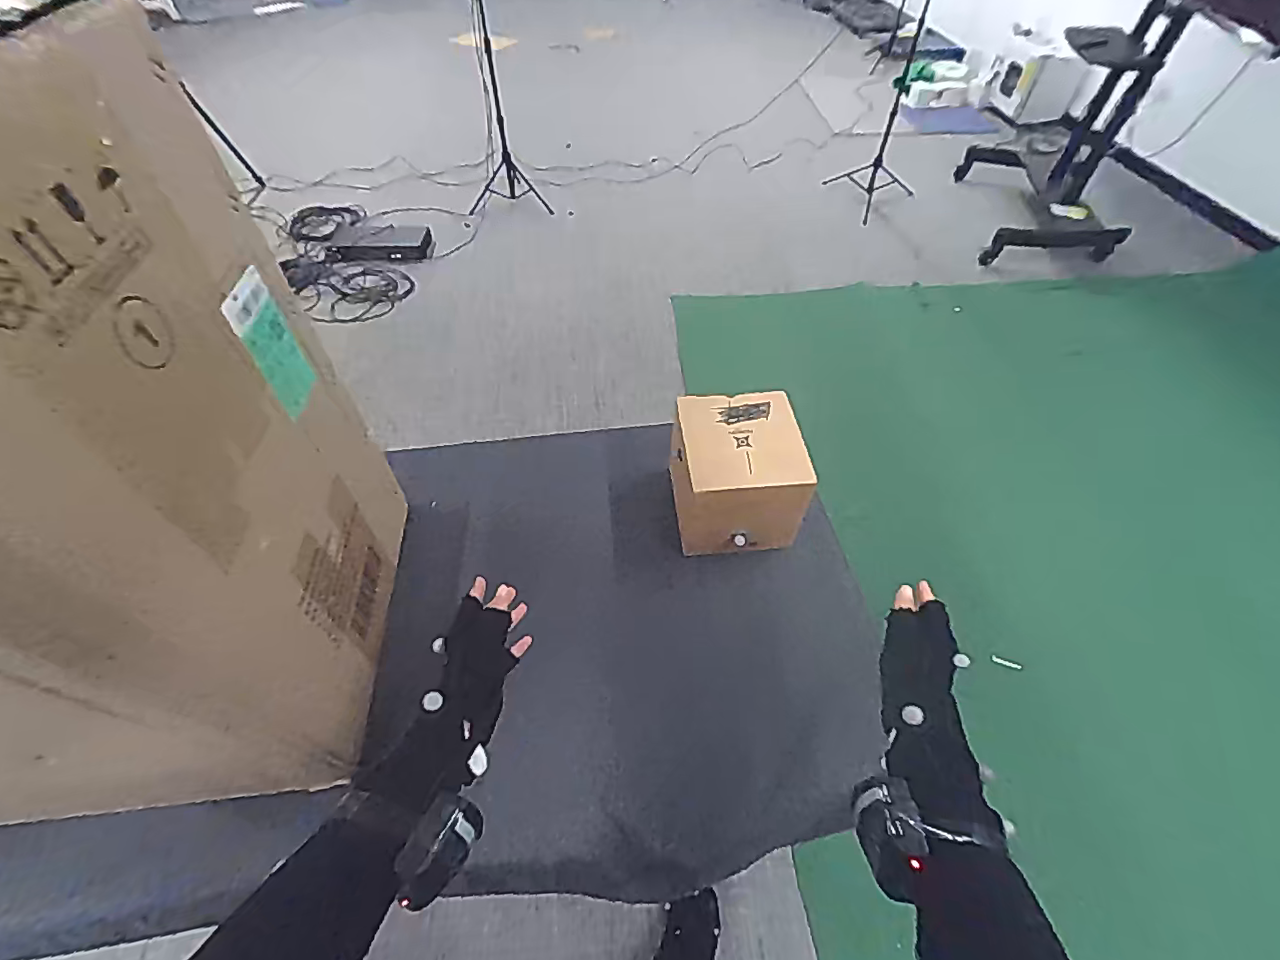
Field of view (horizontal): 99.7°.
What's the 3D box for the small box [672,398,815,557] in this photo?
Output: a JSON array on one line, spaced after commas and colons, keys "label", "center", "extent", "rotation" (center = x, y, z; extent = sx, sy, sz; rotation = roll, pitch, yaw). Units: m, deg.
[{"label": "small box", "center": [0.141, -0.002, 0.817], "extent": [0.168, 0.176, 0.179], "rotation": [-4, 53, -3]}]
